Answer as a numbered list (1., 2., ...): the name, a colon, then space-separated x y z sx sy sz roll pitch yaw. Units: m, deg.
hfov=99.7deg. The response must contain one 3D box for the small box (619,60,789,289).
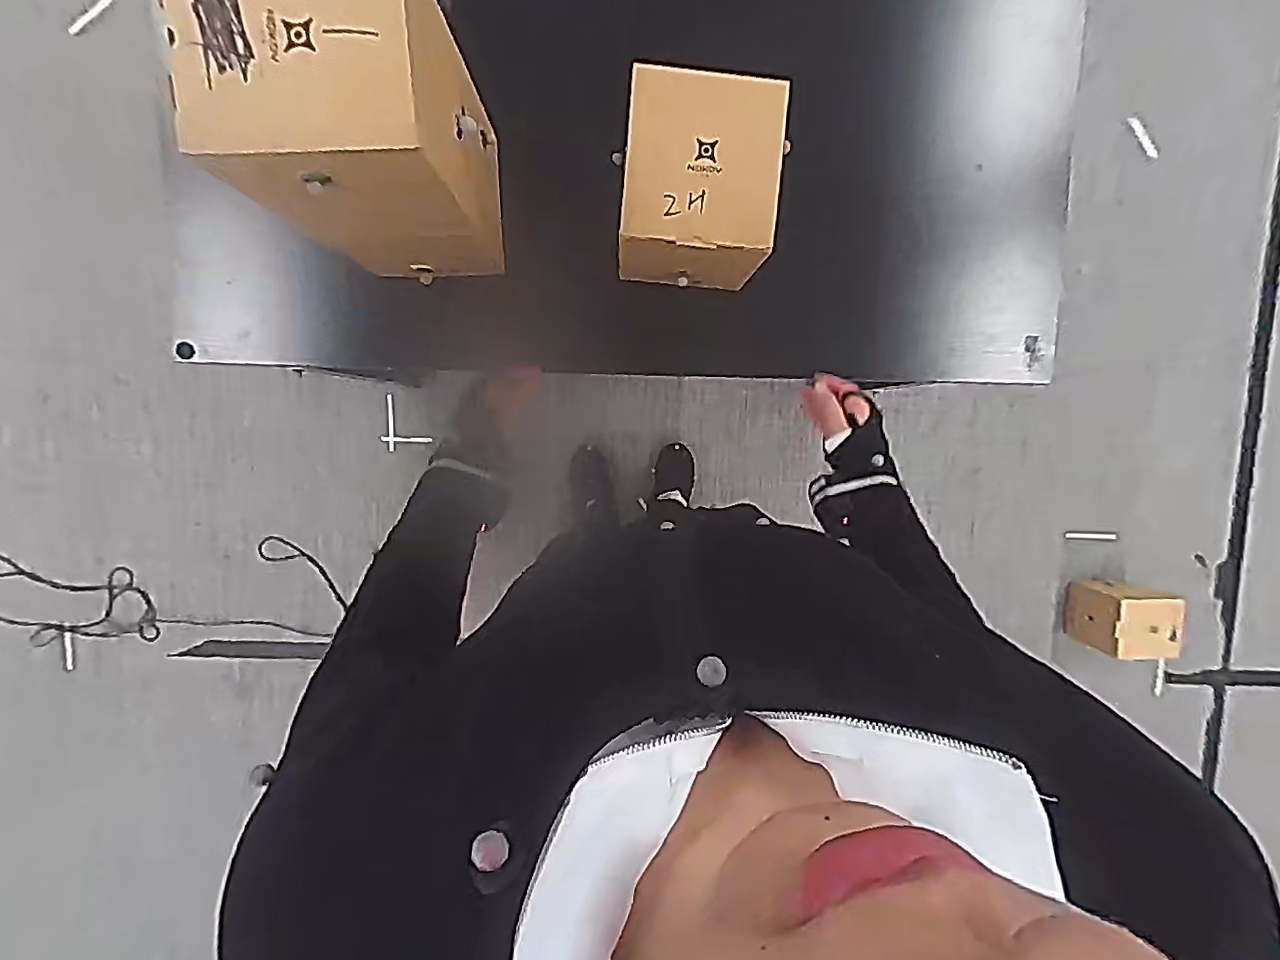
1. small box: 0.064 -0.346 0.646 0.168 0.176 0.179 5 96 -3

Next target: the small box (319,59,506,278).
1. small box: -0.260 -0.350 0.634 0.168 0.176 0.179 -3 97 -1

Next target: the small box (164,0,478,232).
1. small box: -0.255 -0.329 0.470 0.179 0.176 0.168 -3 96 -2

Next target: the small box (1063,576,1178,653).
1. small box: 1.334 0.372 1.513 0.179 0.176 0.168 0 96 -2
